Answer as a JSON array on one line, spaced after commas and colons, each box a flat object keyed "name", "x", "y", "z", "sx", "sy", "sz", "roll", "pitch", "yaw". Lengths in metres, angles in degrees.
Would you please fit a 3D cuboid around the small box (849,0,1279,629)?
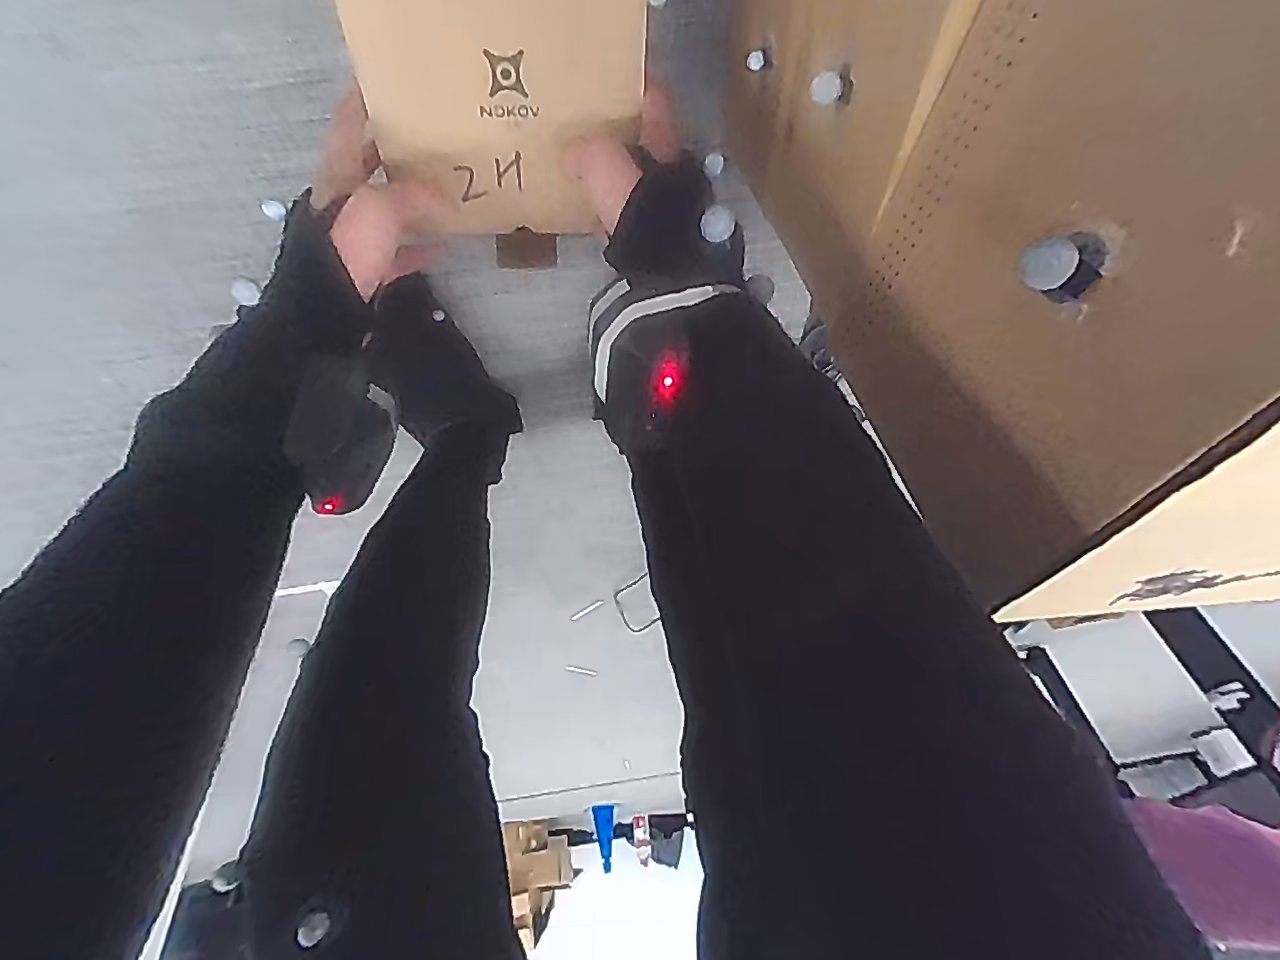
[{"name": "small box", "x": 0.205, "y": -0.066, "z": 0.198, "sx": 0.168, "sy": 0.176, "sz": 0.179, "roll": -1, "pitch": 140, "yaw": -10}]

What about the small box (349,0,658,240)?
[{"name": "small box", "x": -0.082, "y": -0.288, "z": 0.371, "sx": 0.168, "sy": 0.176, "sz": 0.179, "roll": -3, "pitch": 139, "yaw": -5}]

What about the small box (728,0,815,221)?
[{"name": "small box", "x": 0.167, "y": -0.321, "z": 0.398, "sx": 0.168, "sy": 0.176, "sz": 0.179, "roll": -6, "pitch": 142, "yaw": -3}]

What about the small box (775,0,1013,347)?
[{"name": "small box", "x": 0.188, "y": -0.195, "z": 0.299, "sx": 0.179, "sy": 0.176, "sz": 0.168, "roll": -6, "pitch": 142, "yaw": -4}]
